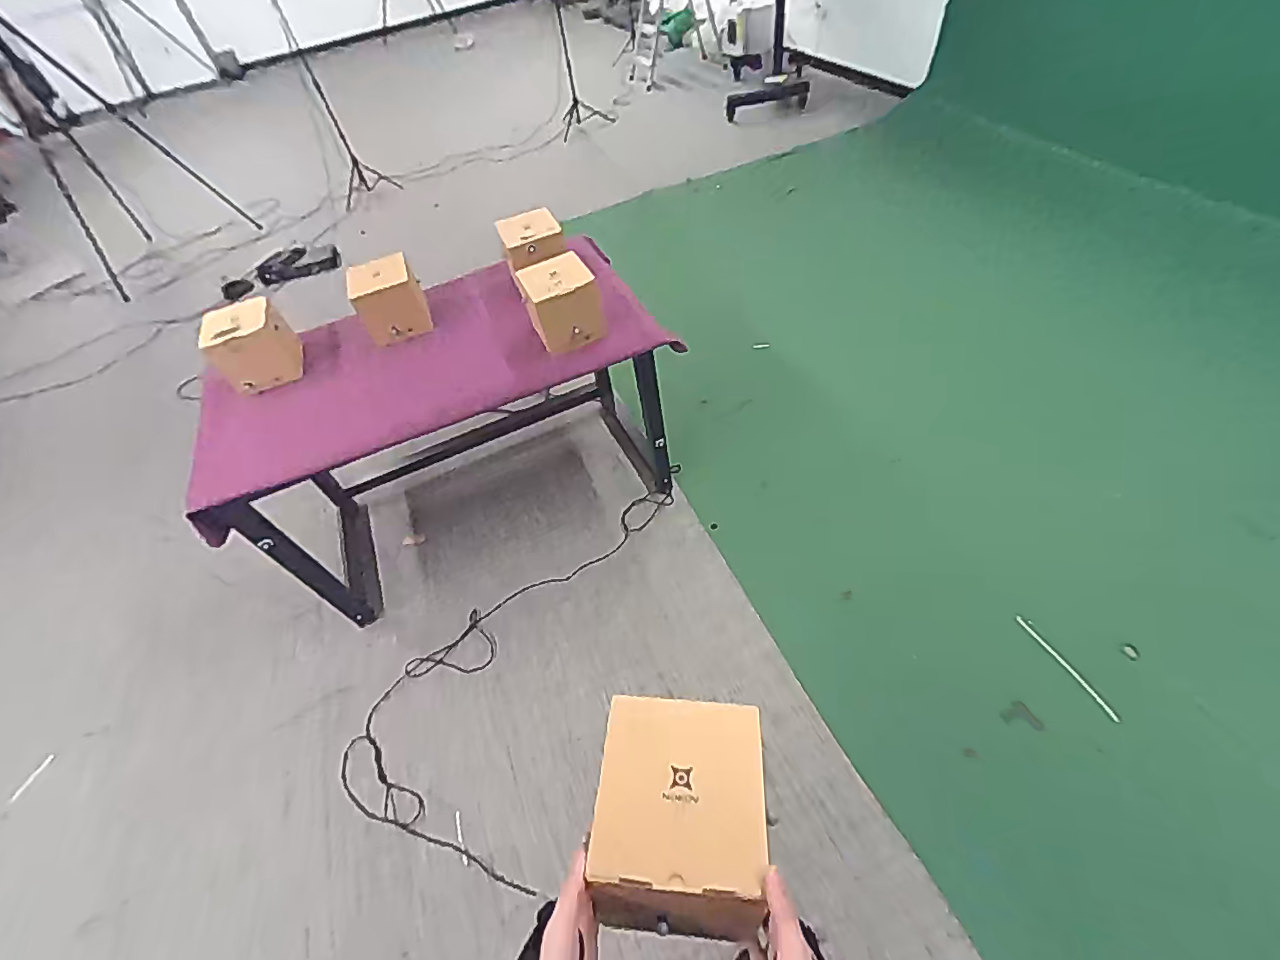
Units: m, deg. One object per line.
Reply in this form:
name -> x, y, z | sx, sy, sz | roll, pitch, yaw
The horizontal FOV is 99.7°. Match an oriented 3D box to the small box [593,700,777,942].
small box -> 0.047, 0.367, 0.588 | 0.168, 0.176, 0.179 | 2, 42, 4

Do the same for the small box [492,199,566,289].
small box -> -0.315, -0.686, 1.585 | 0.168, 0.176, 0.179 | -22, 53, -8

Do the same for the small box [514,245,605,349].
small box -> -0.205, -0.470, 1.399 | 0.168, 0.176, 0.179 | -24, 53, -9

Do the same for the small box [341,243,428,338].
small box -> -0.718, -0.532, 1.525 | 0.168, 0.176, 0.179 | -21, 54, -7

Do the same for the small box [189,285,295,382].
small box -> -1.059, -0.385, 1.454 | 0.168, 0.176, 0.179 | -21, 53, -9
